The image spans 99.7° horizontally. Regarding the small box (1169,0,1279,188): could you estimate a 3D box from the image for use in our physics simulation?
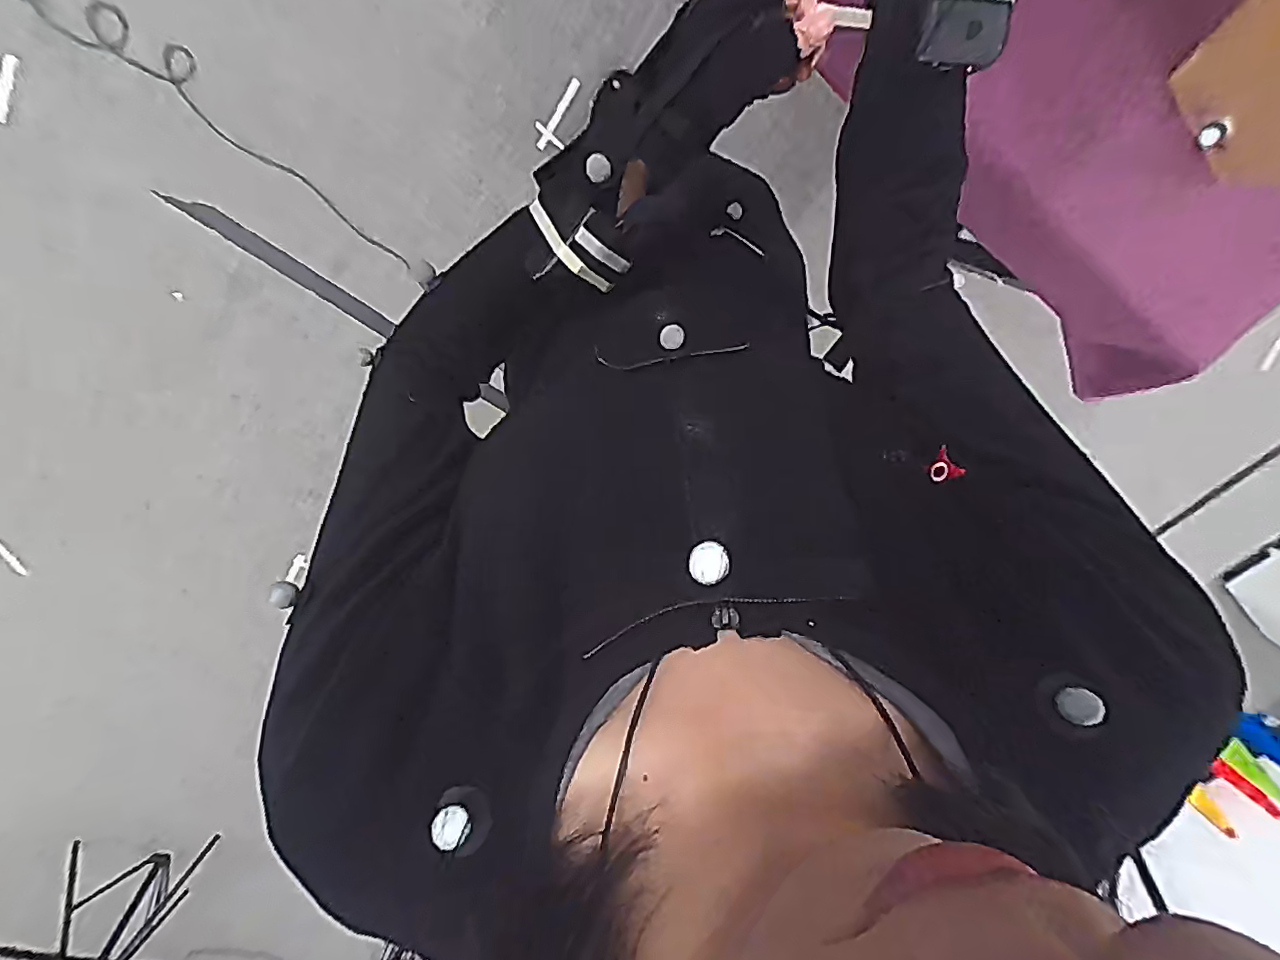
[{"bbox_3d":[0.697,-0.413,0.524,0.168,0.176,0.179,32,114,-21],"label":"small box"}]
